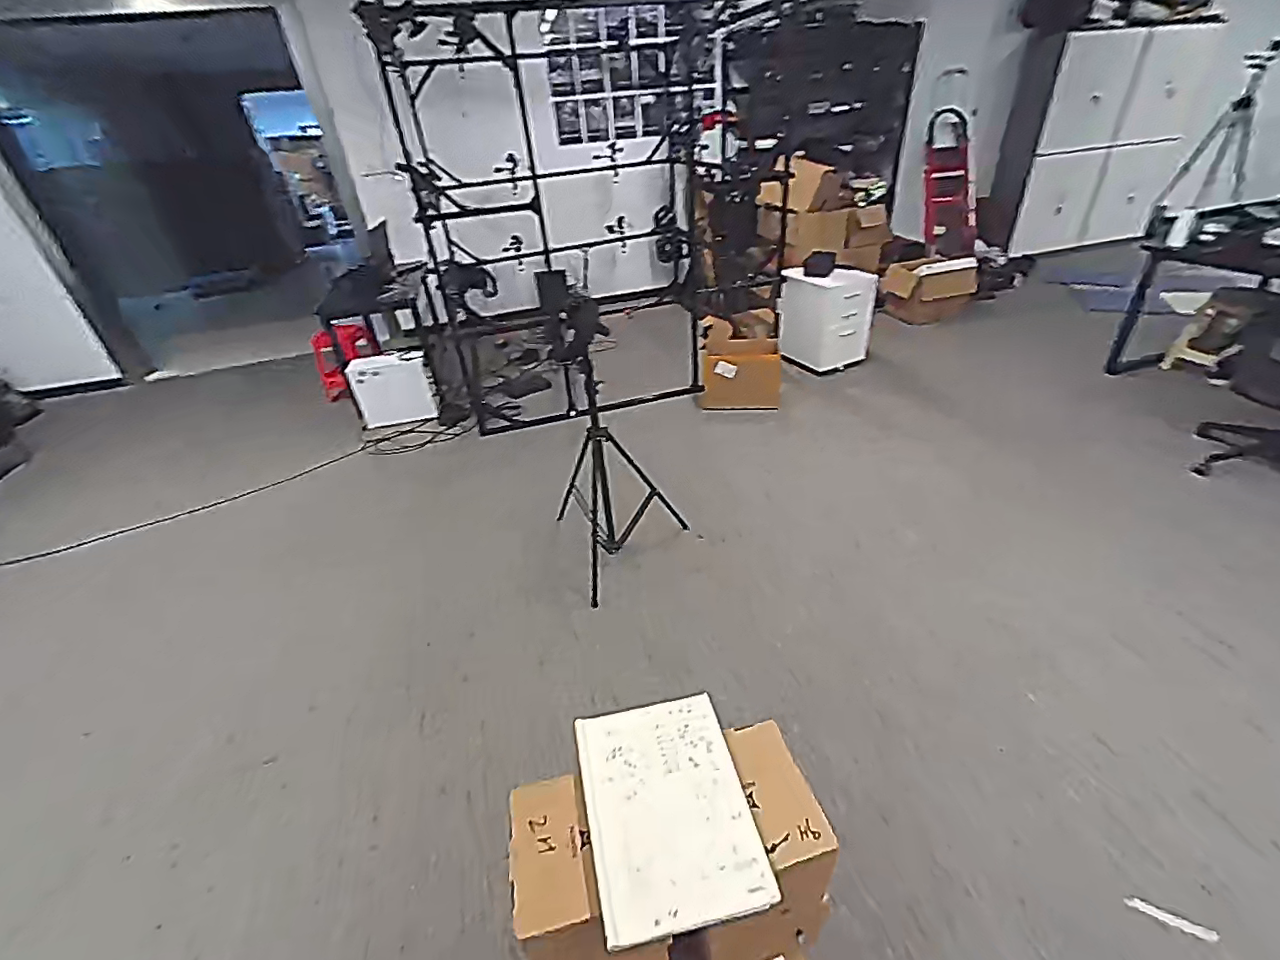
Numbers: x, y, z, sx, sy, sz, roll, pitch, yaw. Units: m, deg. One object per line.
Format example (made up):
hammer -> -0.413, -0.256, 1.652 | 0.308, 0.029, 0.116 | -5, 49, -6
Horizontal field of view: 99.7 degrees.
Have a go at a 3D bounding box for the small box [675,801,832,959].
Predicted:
small box -> 0.161, 0.634, 0.822 | 0.179, 0.176, 0.168 | -13, 35, -12

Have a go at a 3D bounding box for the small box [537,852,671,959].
small box -> -0.047, 0.680, 0.784 | 0.179, 0.176, 0.168 | -10, 35, -4
